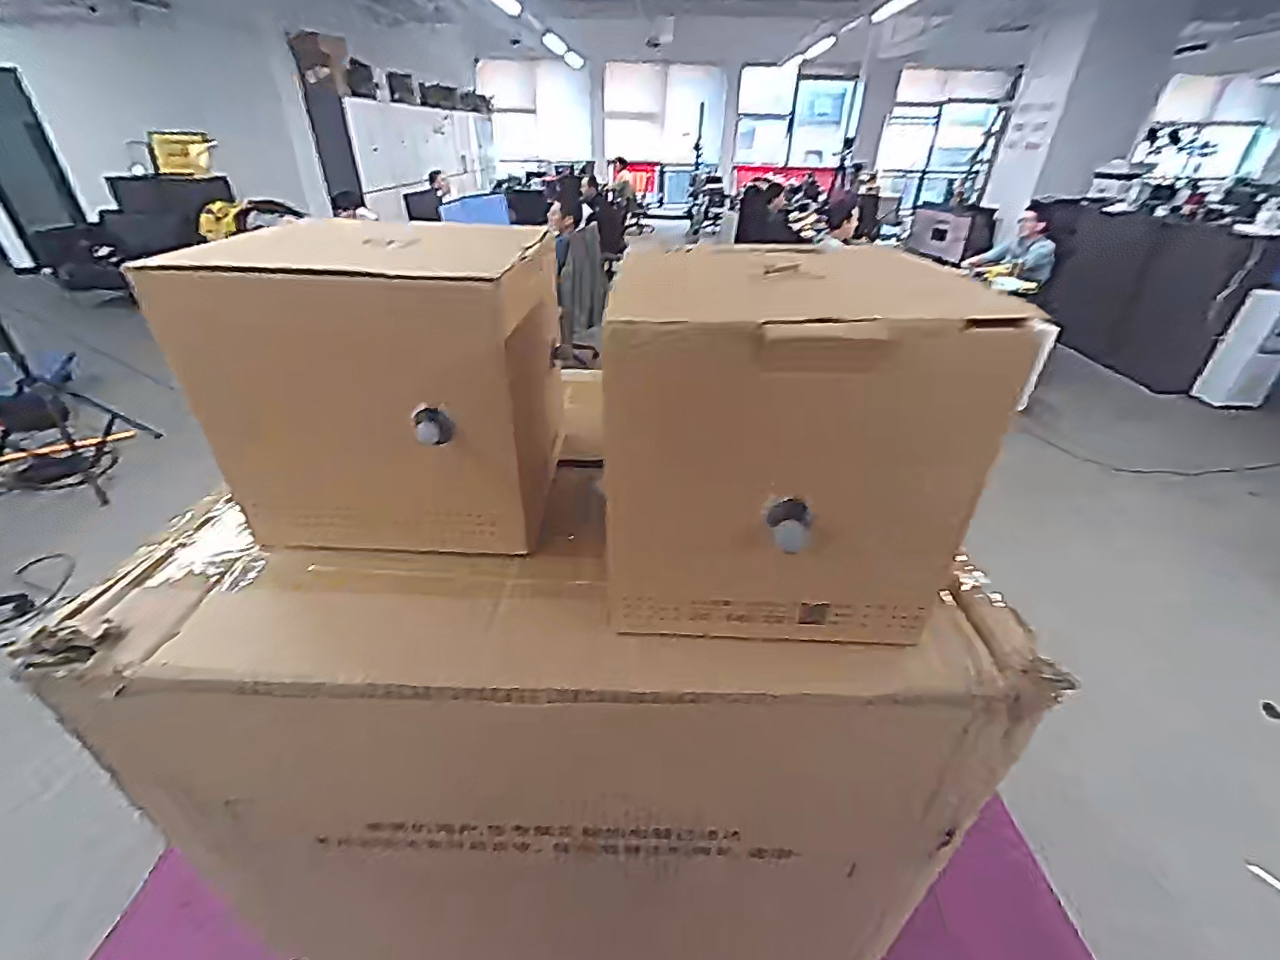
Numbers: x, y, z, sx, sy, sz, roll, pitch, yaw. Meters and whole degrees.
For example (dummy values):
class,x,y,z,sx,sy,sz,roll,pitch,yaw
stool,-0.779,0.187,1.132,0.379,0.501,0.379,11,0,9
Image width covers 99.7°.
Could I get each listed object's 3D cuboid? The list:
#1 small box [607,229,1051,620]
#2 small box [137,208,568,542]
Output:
class,x,y,z,sx,sy,sz,roll,pitch,yaw
small box,0.075,-0.039,0.311,0.168,0.176,0.179,1,33,2
small box,-0.144,-0.073,0.355,0.179,0.176,0.168,1,32,0
